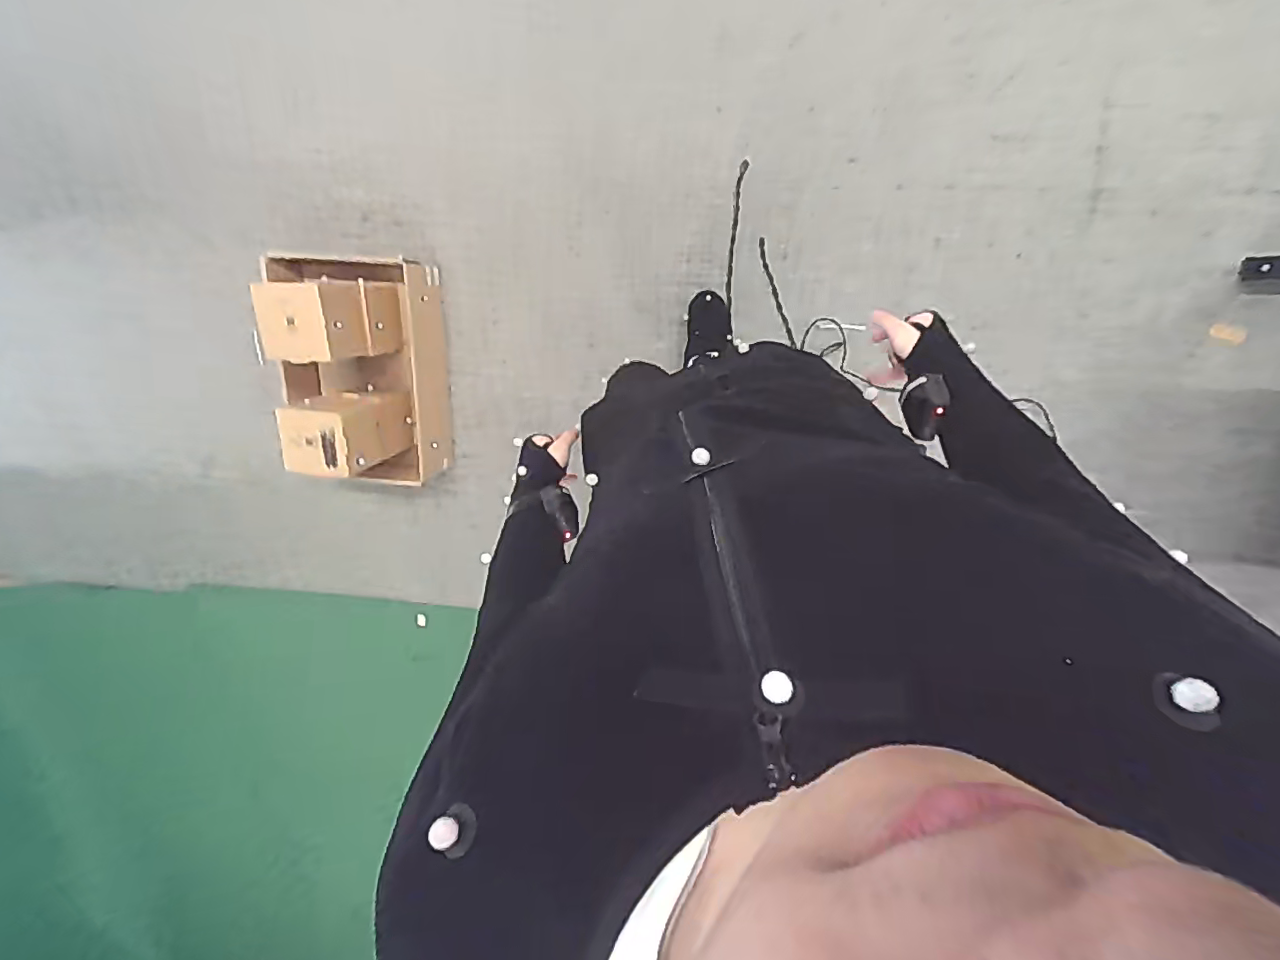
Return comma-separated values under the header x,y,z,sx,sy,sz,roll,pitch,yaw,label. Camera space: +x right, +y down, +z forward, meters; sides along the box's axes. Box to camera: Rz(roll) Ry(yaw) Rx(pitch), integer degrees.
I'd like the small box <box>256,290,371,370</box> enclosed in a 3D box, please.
x,y,z,sx,sy,sz,roll,pitch,yaw,label
-0.788,-0.371,1.327,0.168,0.176,0.179,3,109,5,small box
